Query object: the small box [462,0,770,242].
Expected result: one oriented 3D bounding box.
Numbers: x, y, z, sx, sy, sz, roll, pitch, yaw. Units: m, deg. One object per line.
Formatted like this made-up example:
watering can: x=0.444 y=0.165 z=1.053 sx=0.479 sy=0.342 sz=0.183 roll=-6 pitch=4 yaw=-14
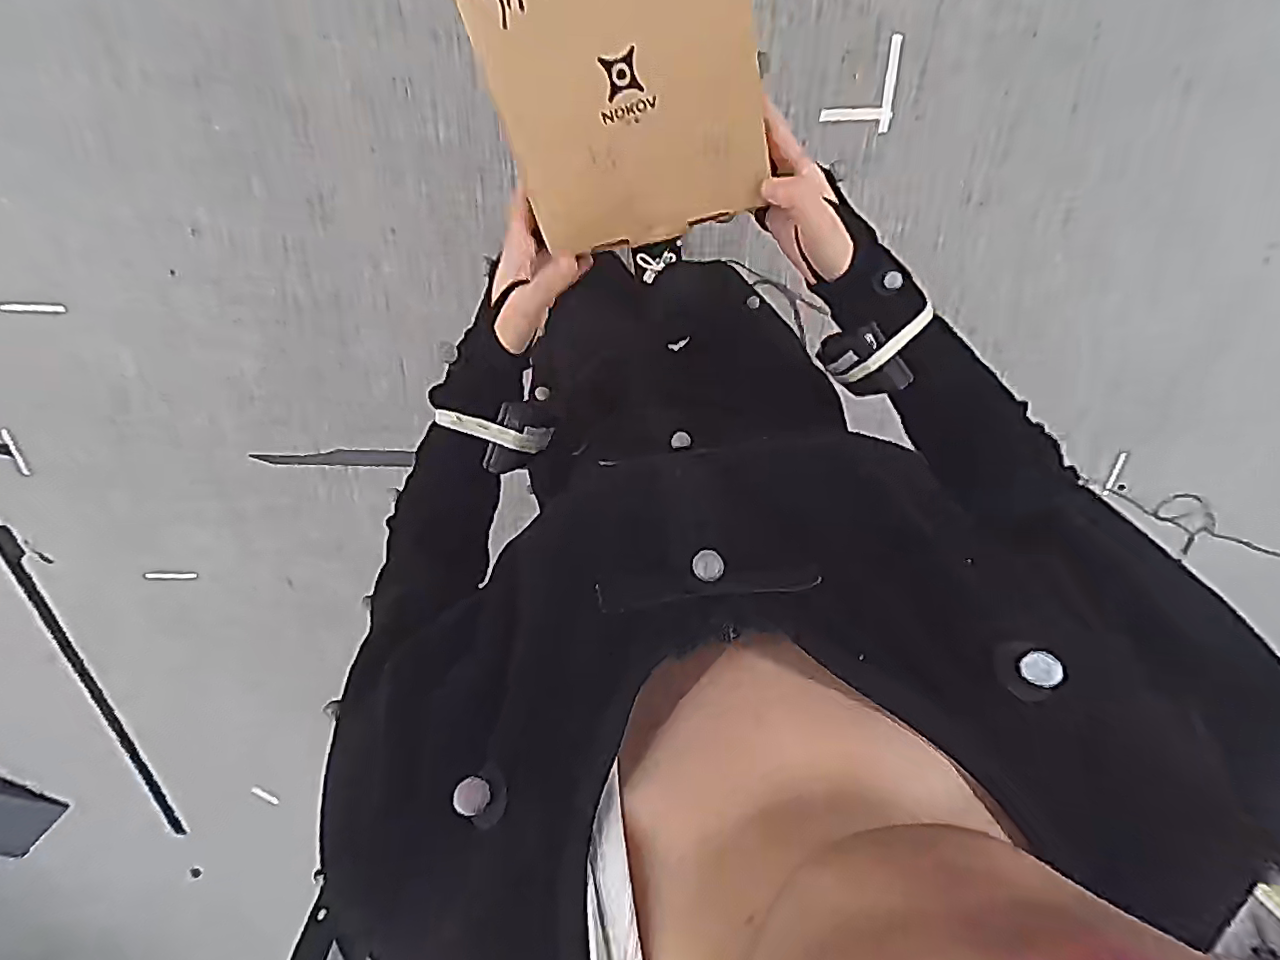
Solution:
small box: x=-0.007 y=-0.301 z=0.384 sx=0.168 sy=0.176 sz=0.179 roll=-10 pitch=130 yaw=11
